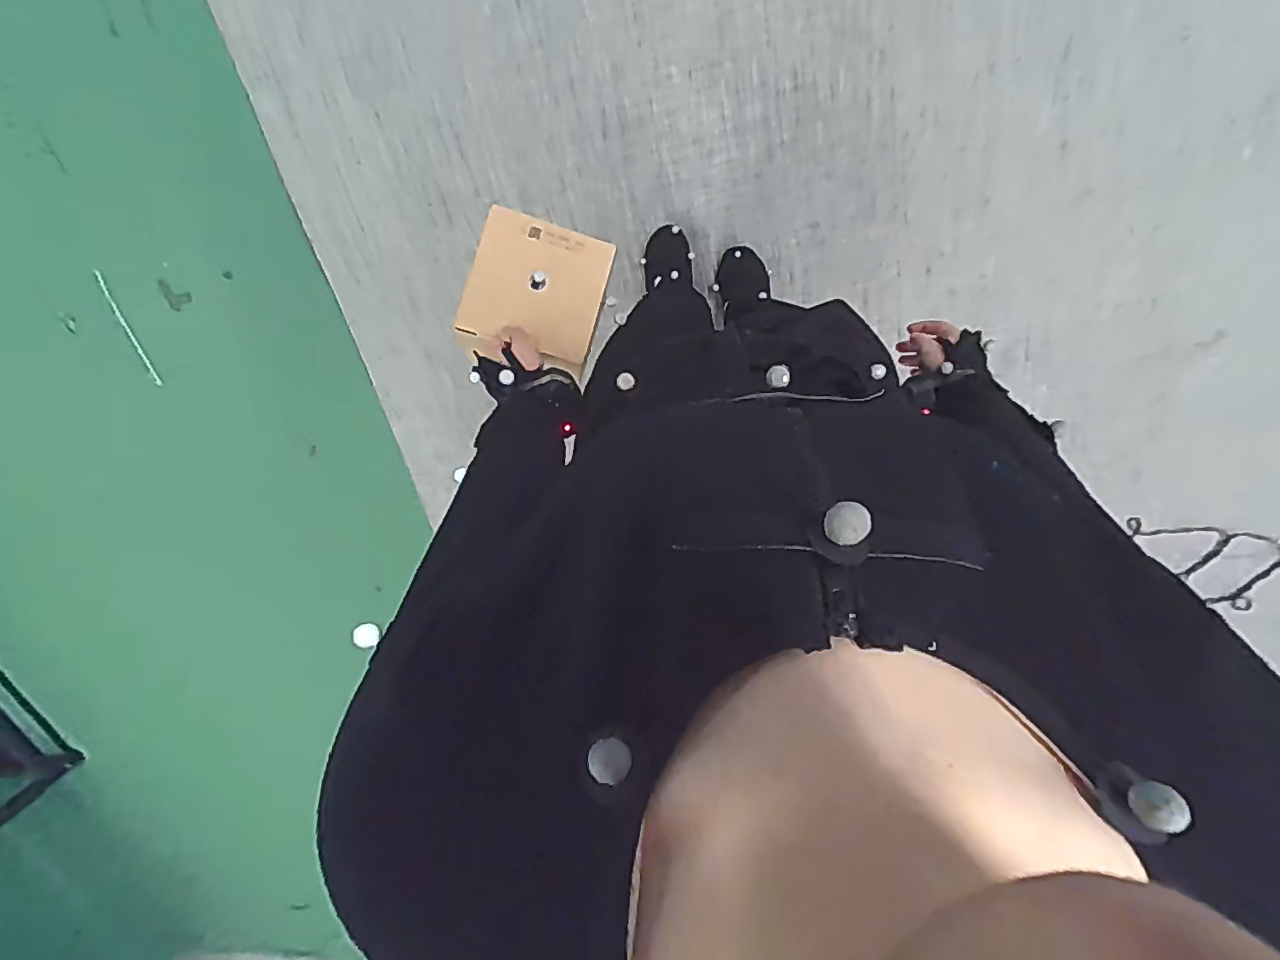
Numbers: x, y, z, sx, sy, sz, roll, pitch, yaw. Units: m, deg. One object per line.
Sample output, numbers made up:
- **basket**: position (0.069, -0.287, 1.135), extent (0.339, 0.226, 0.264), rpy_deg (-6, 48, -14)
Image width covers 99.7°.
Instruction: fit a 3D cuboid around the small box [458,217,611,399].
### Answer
- **small box**: position (-0.143, -0.234, 0.763), extent (0.168, 0.179, 0.176), rpy_deg (14, 82, -8)
